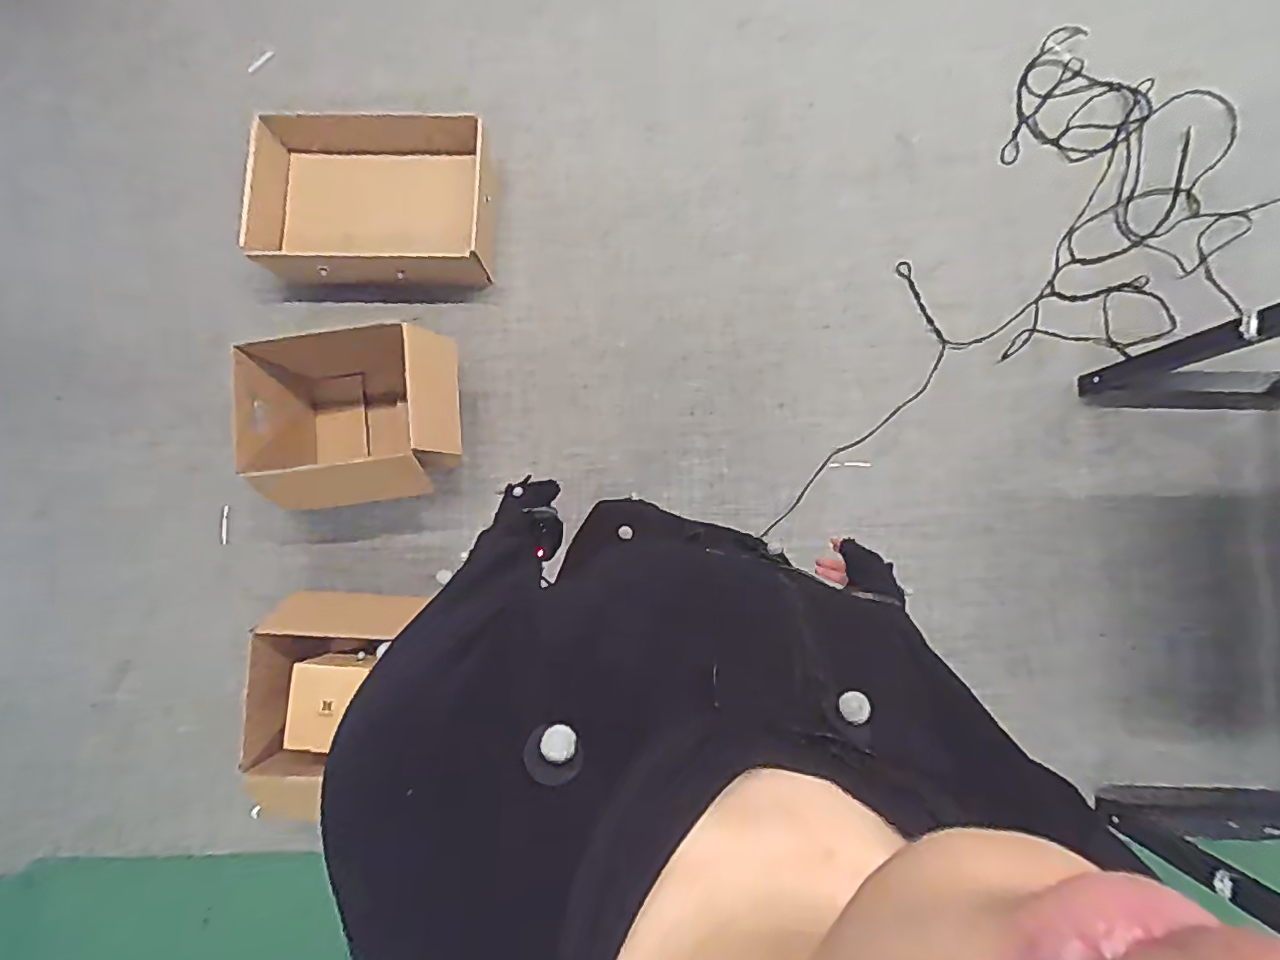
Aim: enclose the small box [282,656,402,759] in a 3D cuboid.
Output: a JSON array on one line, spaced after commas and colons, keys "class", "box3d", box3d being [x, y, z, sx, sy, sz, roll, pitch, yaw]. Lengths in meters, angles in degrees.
[{"class": "small box", "box3d": [-0.644, 0.491, 1.191, 0.168, 0.176, 0.179, 2, 82, 2]}]
